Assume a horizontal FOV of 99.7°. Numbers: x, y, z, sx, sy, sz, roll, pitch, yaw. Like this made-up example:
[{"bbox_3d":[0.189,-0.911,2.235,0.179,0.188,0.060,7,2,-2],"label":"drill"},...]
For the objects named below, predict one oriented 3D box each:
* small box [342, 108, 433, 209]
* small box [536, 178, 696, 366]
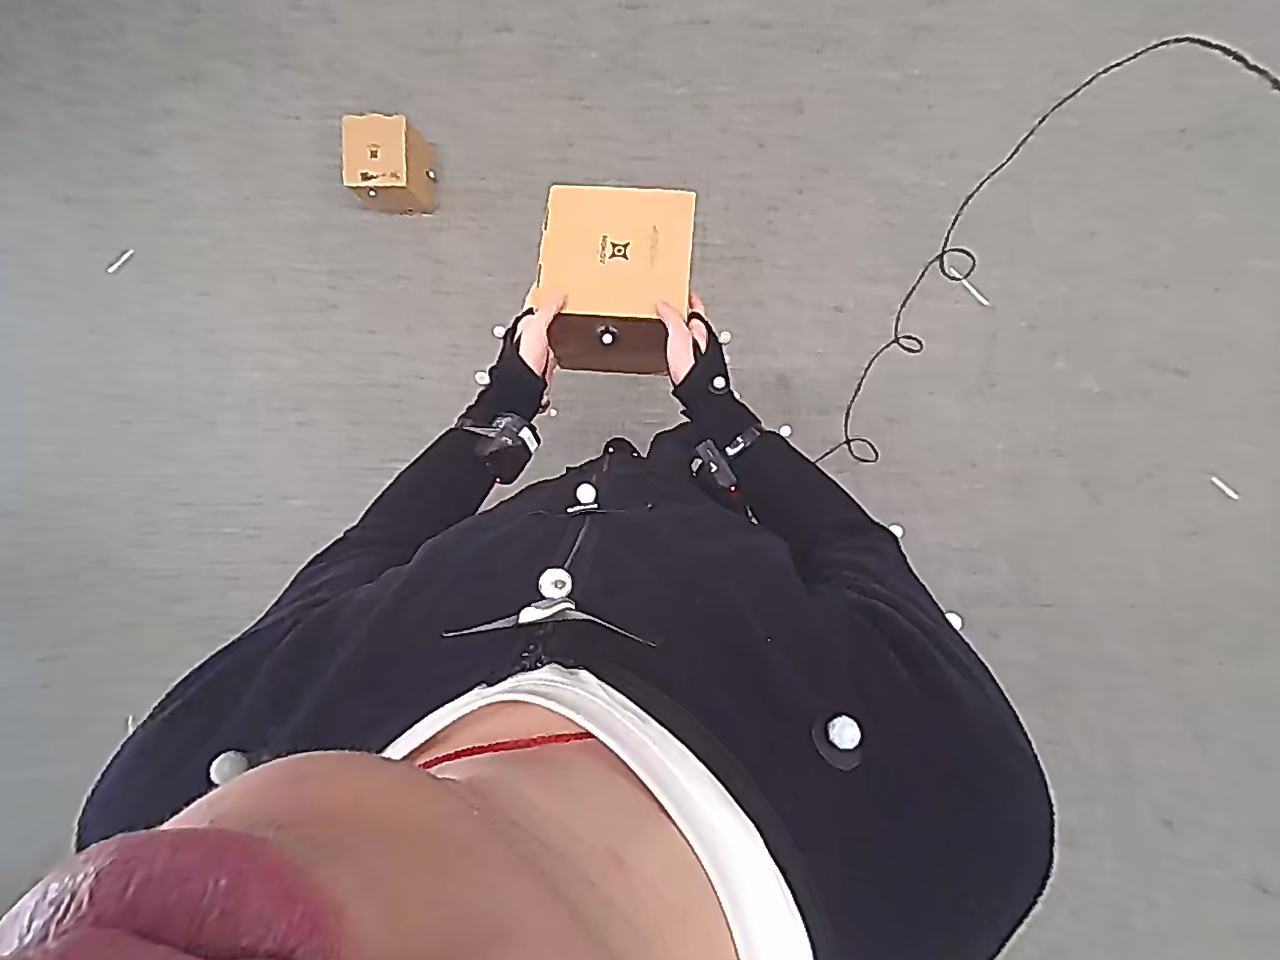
[{"bbox_3d":[-0.665,-0.850,1.438,0.168,0.176,0.179,2,94,3],"label":"small box"},{"bbox_3d":[-0.024,-0.257,0.700,0.179,0.176,0.168,3,80,1],"label":"small box"}]
